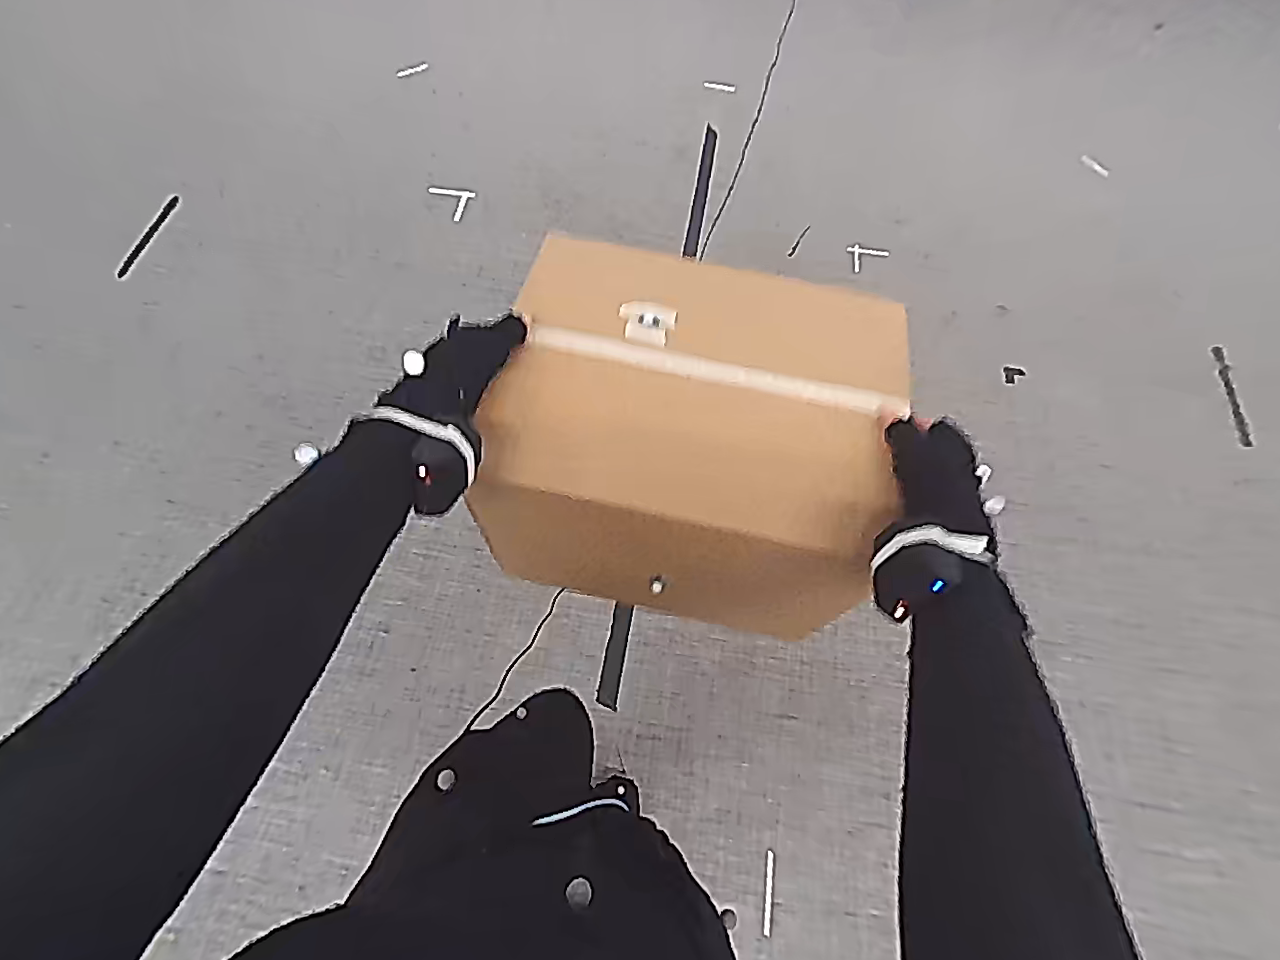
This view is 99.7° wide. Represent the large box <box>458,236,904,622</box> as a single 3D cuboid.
[{"bbox_3d":[0.057,-0.042,0.668,0.408,0.320,0.320,12,62,4],"label":"large box"}]
